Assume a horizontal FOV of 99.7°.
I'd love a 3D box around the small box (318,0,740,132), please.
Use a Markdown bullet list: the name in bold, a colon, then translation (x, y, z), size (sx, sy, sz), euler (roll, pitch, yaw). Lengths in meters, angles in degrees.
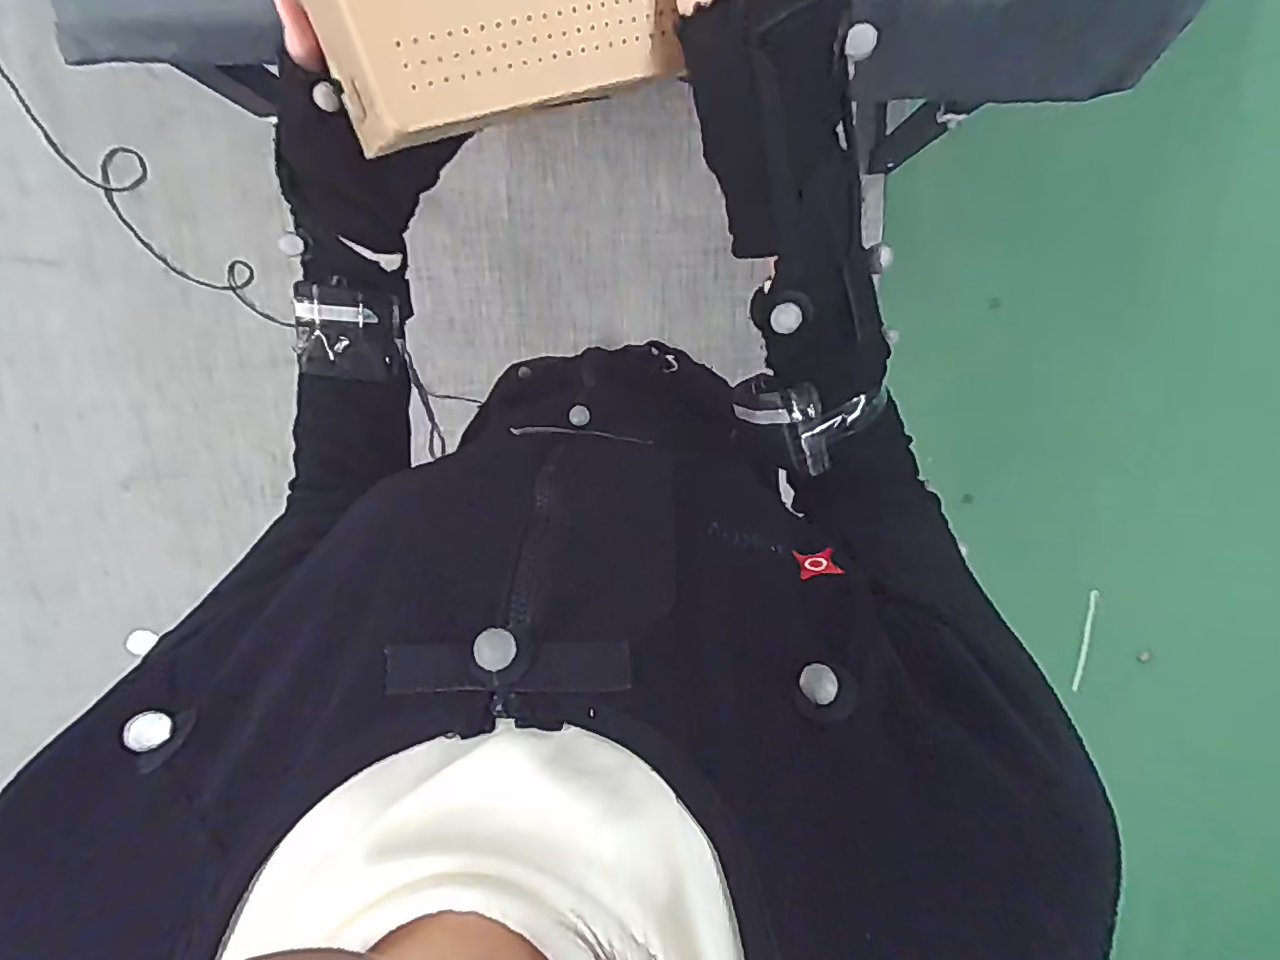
- **small box**: translation (-0.071, -0.277, 0.255), size (0.179, 0.168, 0.176), euler (-26, 126, -18)
